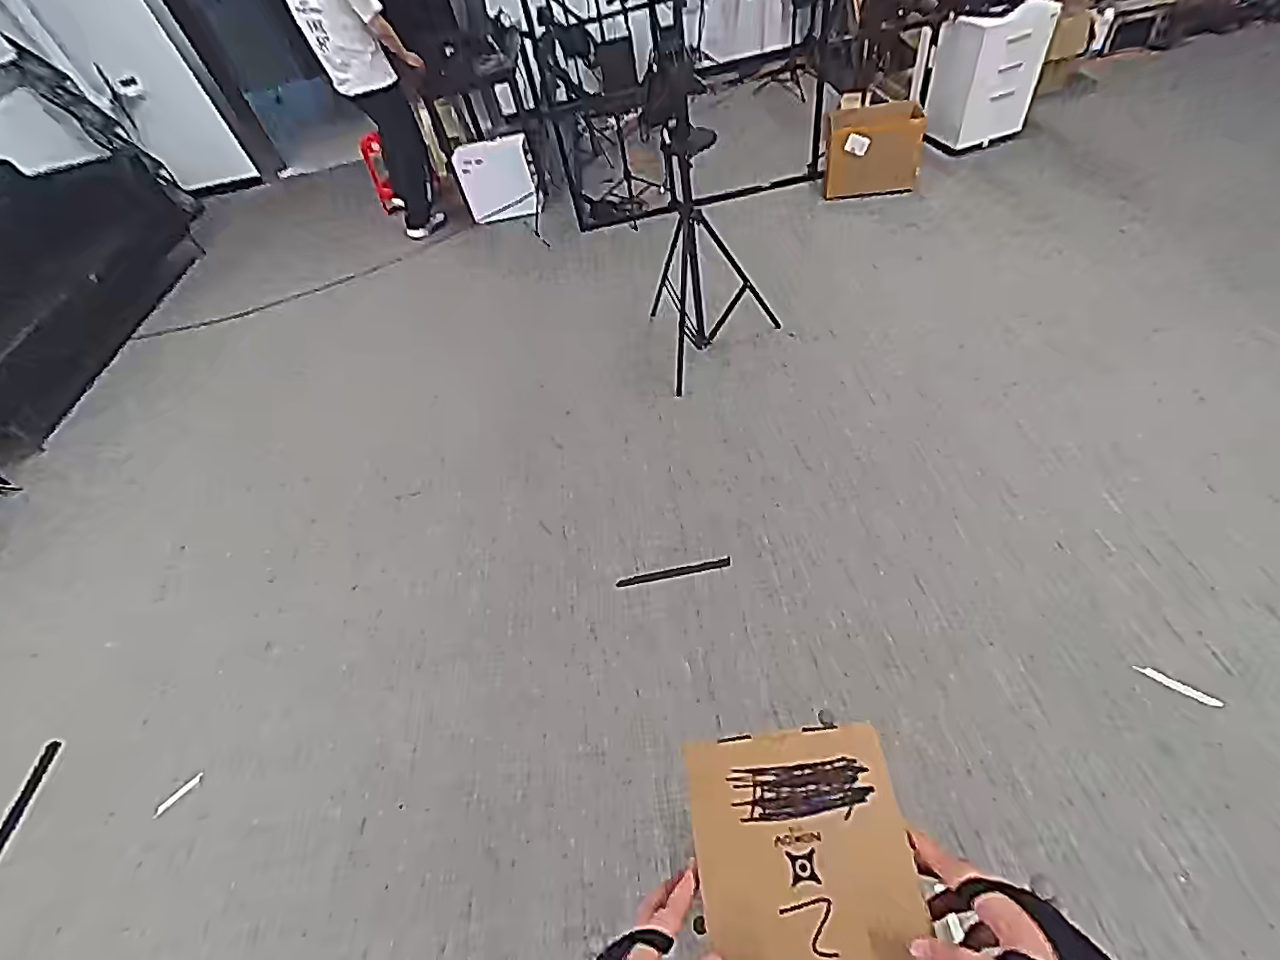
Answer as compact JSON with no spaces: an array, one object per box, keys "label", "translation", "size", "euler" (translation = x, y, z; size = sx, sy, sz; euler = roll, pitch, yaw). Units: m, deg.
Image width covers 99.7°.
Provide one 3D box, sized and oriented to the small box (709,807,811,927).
[{"label":"small box","translation":[0.243,0.810,1.129],"size":[0.168,0.176,0.179],"euler":[-12,50,2]}]
